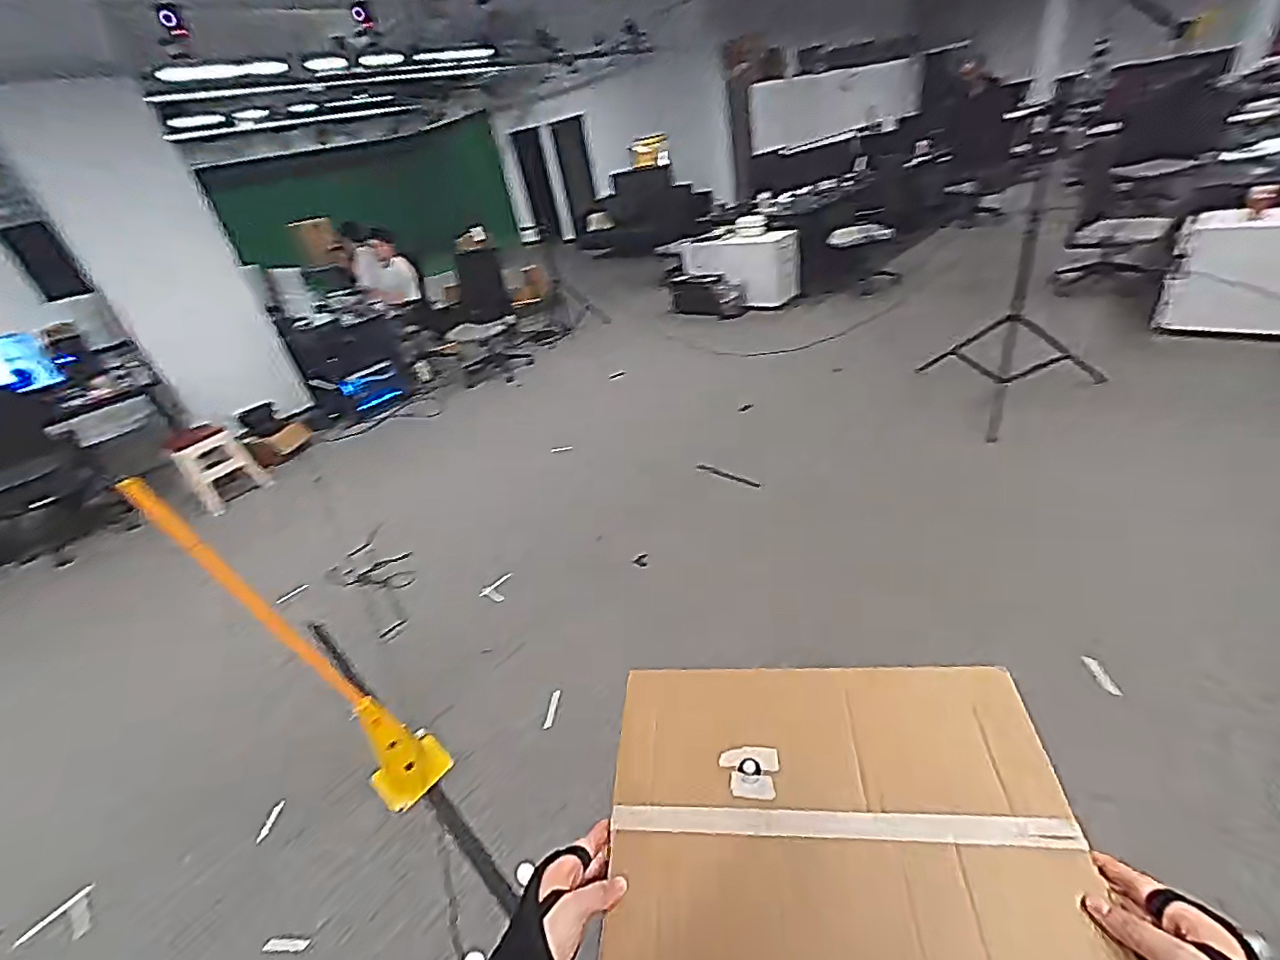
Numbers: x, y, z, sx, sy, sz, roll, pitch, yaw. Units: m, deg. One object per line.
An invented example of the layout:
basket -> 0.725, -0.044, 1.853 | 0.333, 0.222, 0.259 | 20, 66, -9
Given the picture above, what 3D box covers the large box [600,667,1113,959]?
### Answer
large box -> 0.196, 0.434, 0.596 | 0.408, 0.320, 0.320 | -6, 40, 11
